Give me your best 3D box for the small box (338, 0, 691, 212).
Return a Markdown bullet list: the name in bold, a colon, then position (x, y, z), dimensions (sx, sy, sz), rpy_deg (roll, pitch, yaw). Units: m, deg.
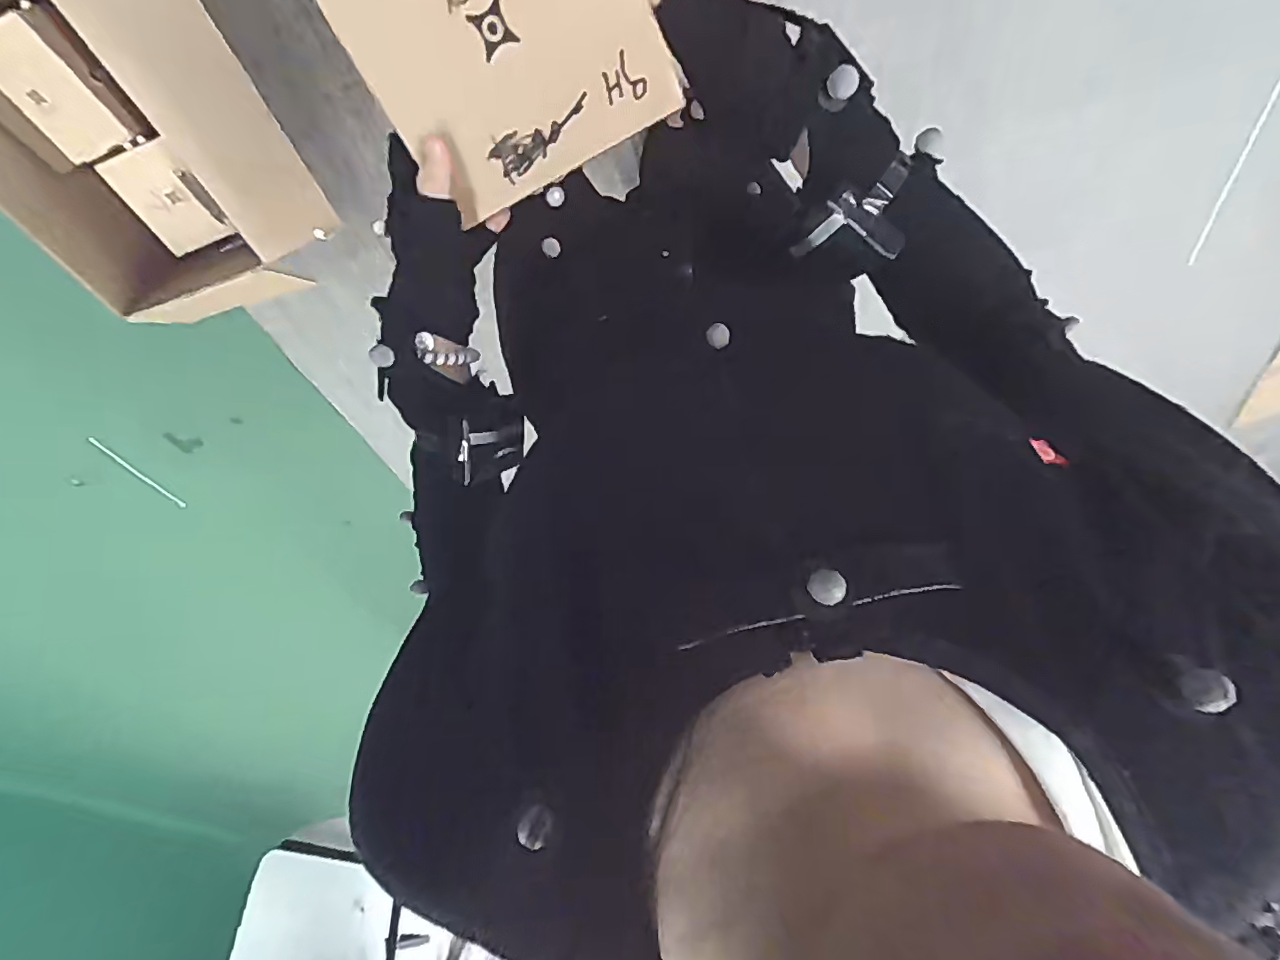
- **small box**: position (-0.075, -0.309, 0.358), dimensions (0.168, 0.176, 0.179), rpy_deg (-19, 121, 17)
